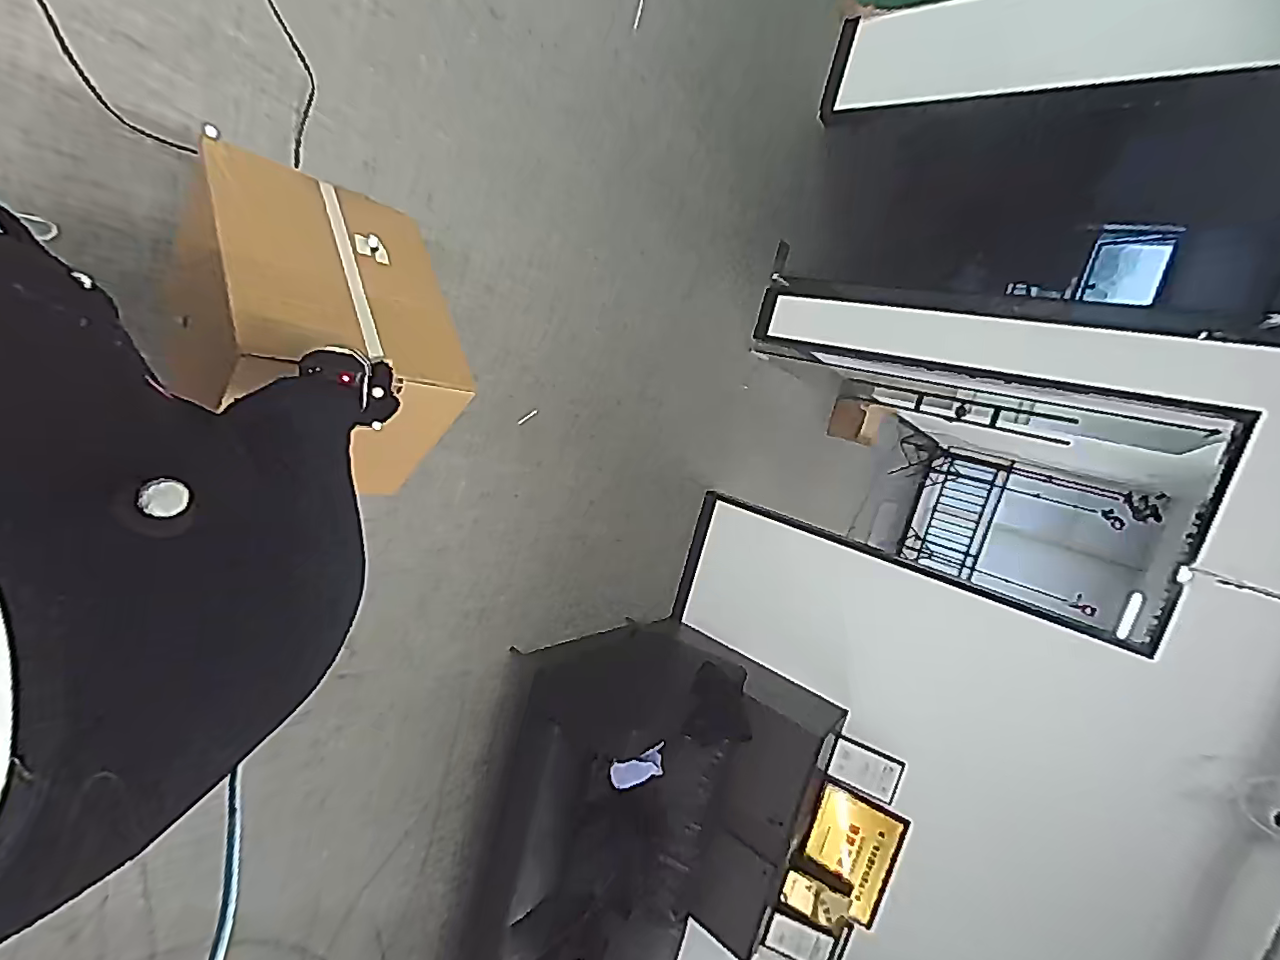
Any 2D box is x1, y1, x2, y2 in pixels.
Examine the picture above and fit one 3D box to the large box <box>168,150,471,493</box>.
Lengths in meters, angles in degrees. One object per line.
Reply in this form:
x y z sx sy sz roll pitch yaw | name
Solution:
-0.543 -0.225 0.897 0.320 0.408 0.320 -40 155 32 | large box
